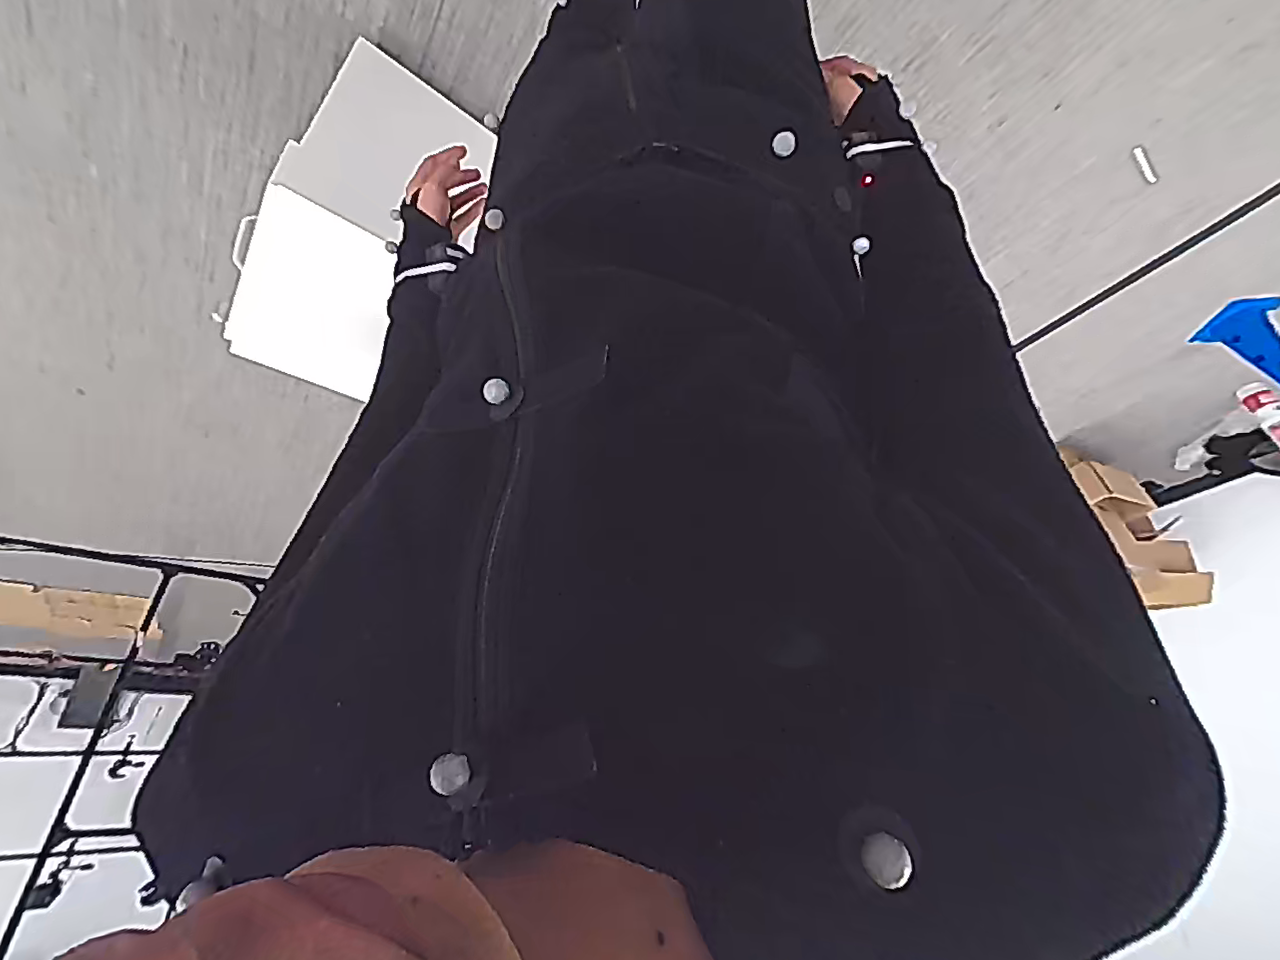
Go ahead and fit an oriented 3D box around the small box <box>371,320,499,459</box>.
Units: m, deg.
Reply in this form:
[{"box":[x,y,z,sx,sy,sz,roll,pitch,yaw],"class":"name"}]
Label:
[{"box":[-0.381,-0.171,1.026,0.179,0.176,0.168,20,139,-32],"class":"small box"}]
